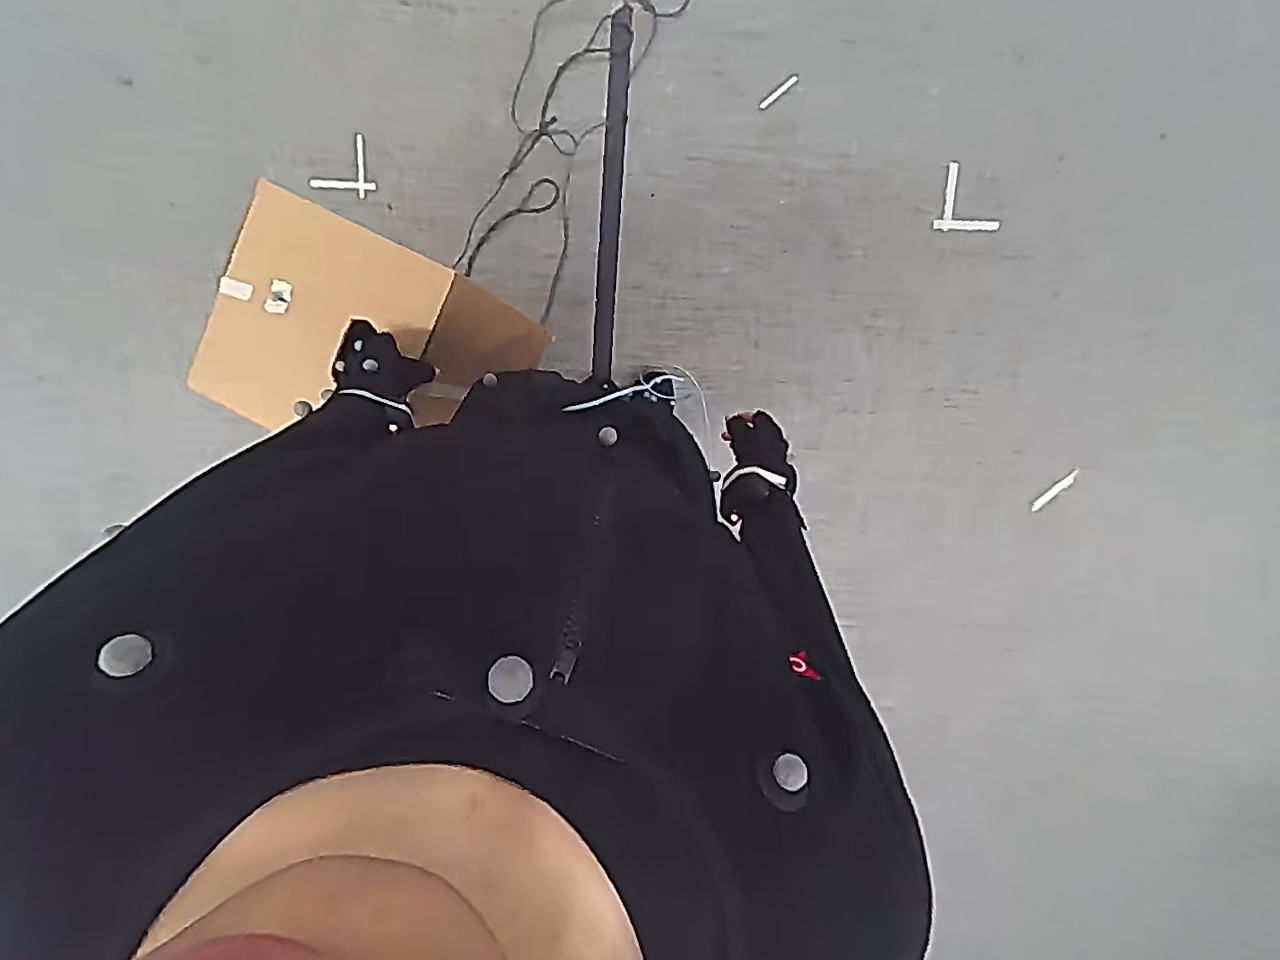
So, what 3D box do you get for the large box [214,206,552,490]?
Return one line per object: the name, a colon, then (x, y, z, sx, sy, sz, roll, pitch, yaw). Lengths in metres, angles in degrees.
large box: (-0.404, -0.204, 0.940, 0.320, 0.408, 0.320, 26, 98, 5)
